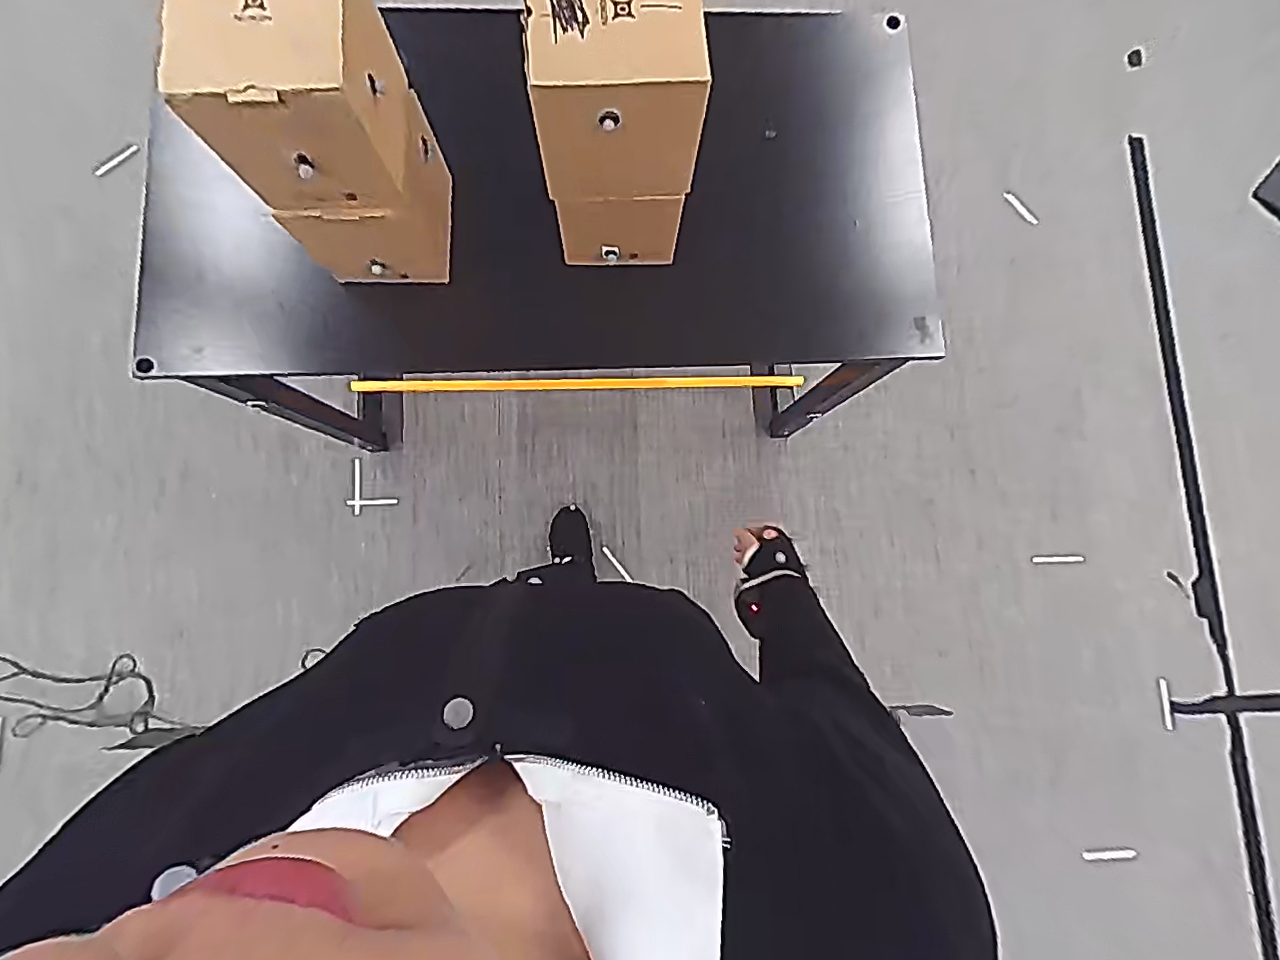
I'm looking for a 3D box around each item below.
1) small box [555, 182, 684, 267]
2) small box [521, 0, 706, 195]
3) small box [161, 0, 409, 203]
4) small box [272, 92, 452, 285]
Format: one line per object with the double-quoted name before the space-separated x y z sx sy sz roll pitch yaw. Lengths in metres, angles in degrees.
"small box" -0.032 -0.427 0.767 0.168 0.176 0.179 -3 84 -2
"small box" -0.030 -0.444 0.603 0.179 0.176 0.168 -4 83 -3
"small box" -0.362 -0.423 0.583 0.168 0.176 0.179 -3 83 -3
"small box" -0.367 -0.393 0.745 0.168 0.176 0.179 -1 83 -2
